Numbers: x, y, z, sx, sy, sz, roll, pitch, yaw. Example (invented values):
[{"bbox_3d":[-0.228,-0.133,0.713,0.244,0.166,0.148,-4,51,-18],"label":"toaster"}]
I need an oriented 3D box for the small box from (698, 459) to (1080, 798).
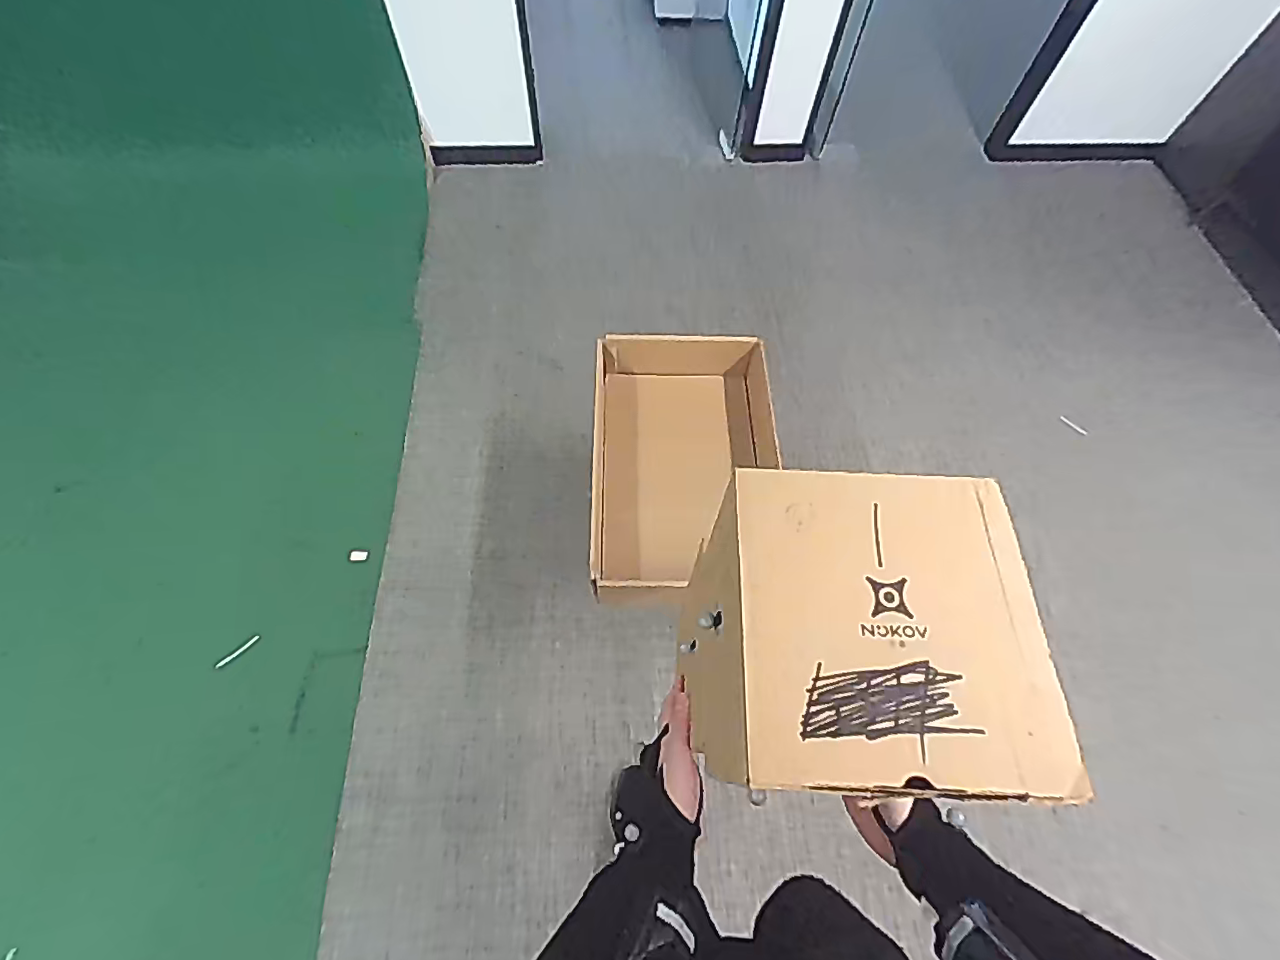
[{"bbox_3d":[0.130,0.103,0.364,0.168,0.176,0.179,2,63,1],"label":"small box"}]

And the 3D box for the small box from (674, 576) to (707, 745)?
[{"bbox_3d":[0.131,0.231,0.668,0.168,0.176,0.179,3,63,2],"label":"small box"}]
